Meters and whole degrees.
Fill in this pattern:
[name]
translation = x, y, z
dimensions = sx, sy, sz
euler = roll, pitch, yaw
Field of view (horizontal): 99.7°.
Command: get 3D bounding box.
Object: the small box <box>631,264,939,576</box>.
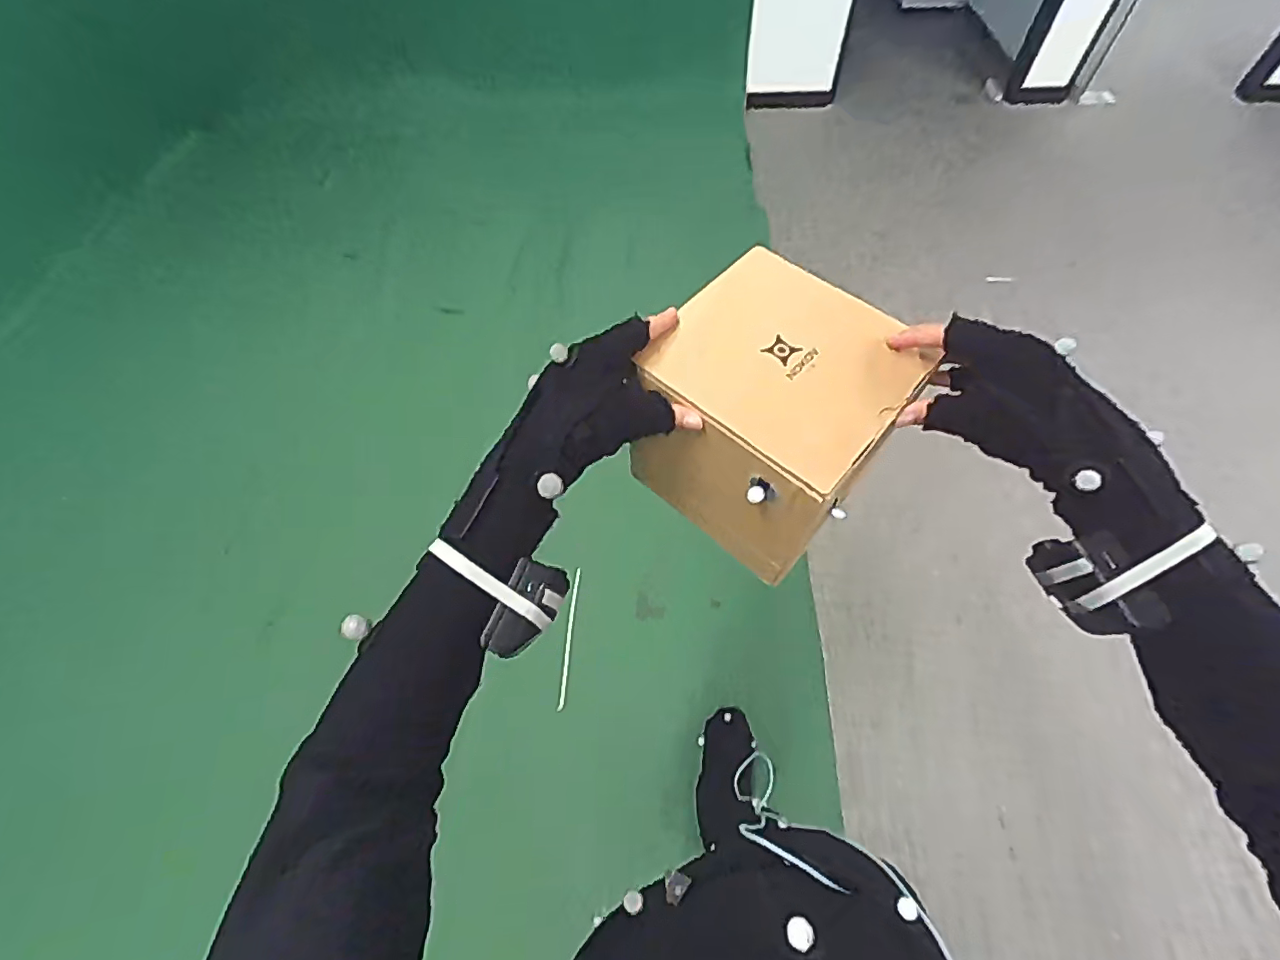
[small box]
translation = 0.108, -0.045, 0.474
dimensions = 0.179, 0.176, 0.168
euler = 39, 67, 19
